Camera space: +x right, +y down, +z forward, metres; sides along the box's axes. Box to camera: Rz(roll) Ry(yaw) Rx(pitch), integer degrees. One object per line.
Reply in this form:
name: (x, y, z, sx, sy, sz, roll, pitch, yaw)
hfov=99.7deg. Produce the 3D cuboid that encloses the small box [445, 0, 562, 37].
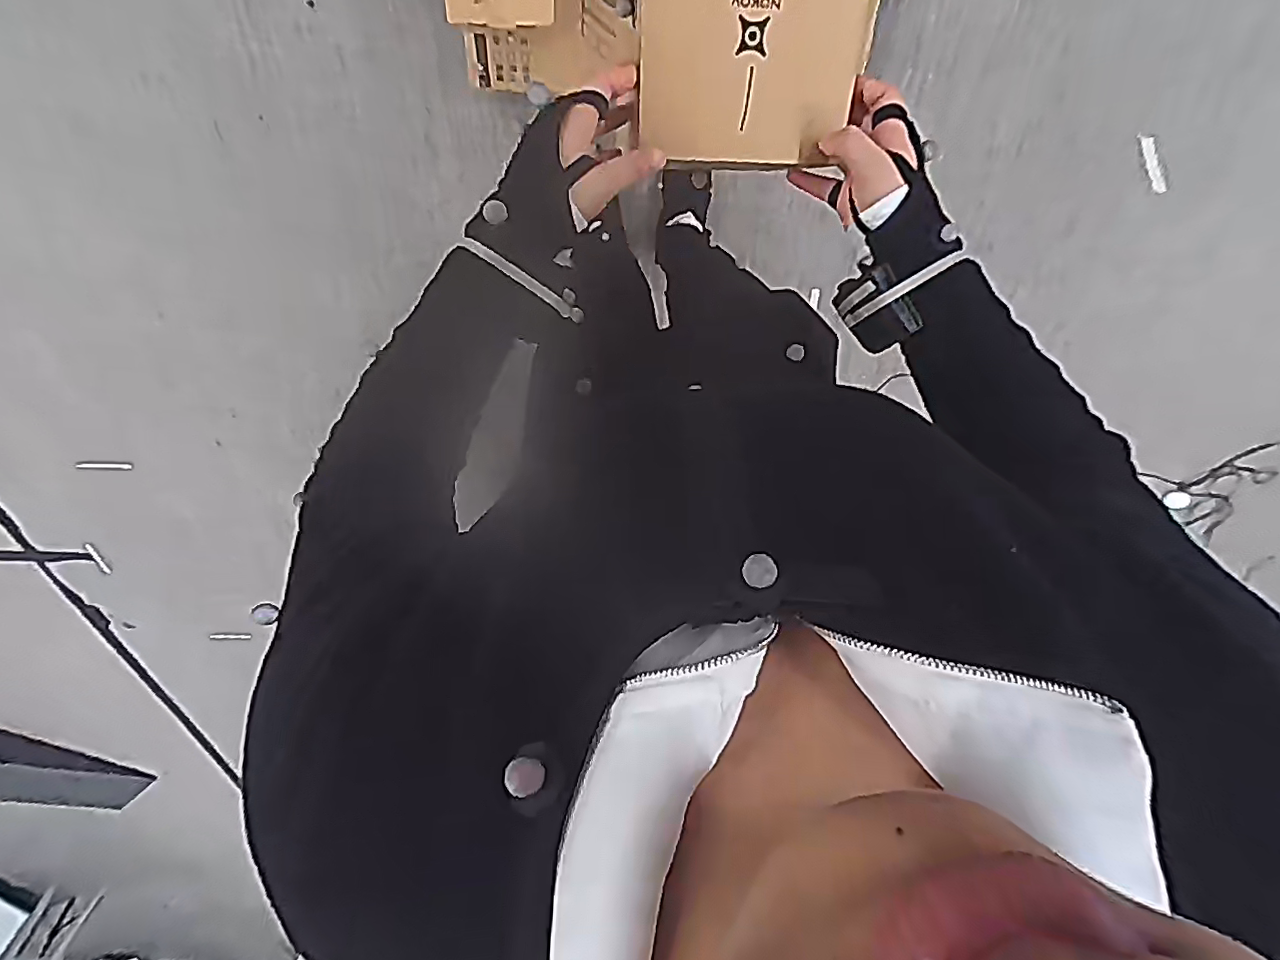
small box: (-0.213, -0.816, 0.845, 0.168, 0.176, 0.179, 0, 126, -3)

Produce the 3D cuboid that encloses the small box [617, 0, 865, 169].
small box: (0.070, -0.367, 0.455, 0.168, 0.176, 0.179, -2, 119, -7)
